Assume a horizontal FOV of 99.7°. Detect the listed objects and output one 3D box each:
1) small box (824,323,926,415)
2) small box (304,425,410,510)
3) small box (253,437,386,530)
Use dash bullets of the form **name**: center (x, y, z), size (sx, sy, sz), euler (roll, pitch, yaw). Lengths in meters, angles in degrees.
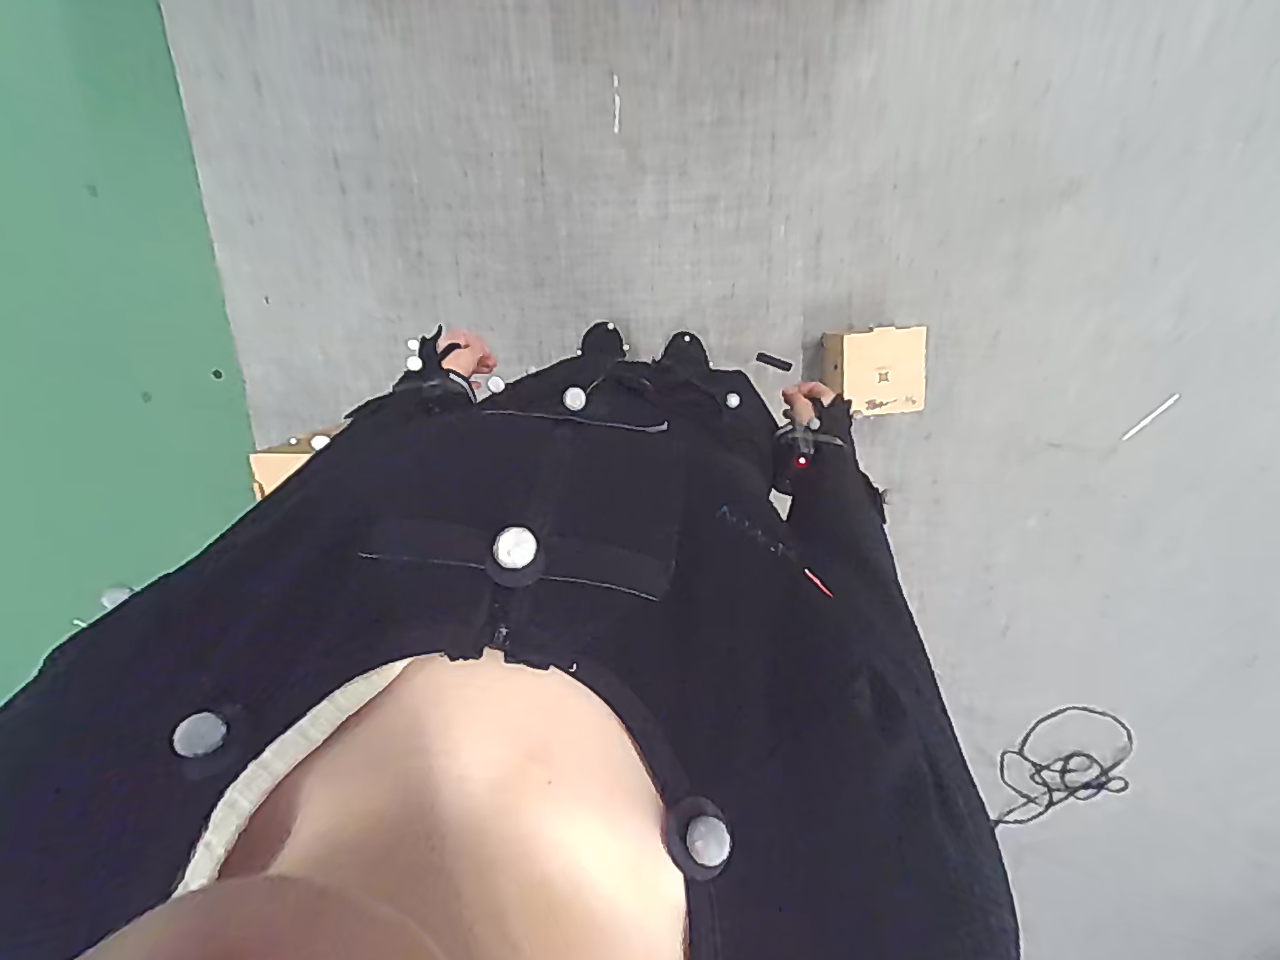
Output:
- **small box**: center (0.509, -0.245, 1.191), size (0.168, 0.176, 0.179), euler (-5, 104, 6)
- **small box**: center (-0.695, -0.038, 1.347), size (0.168, 0.176, 0.179), euler (2, 107, 4)
- **small box**: center (-0.693, 0.003, 1.189), size (0.179, 0.176, 0.168), euler (-1, 107, 4)
